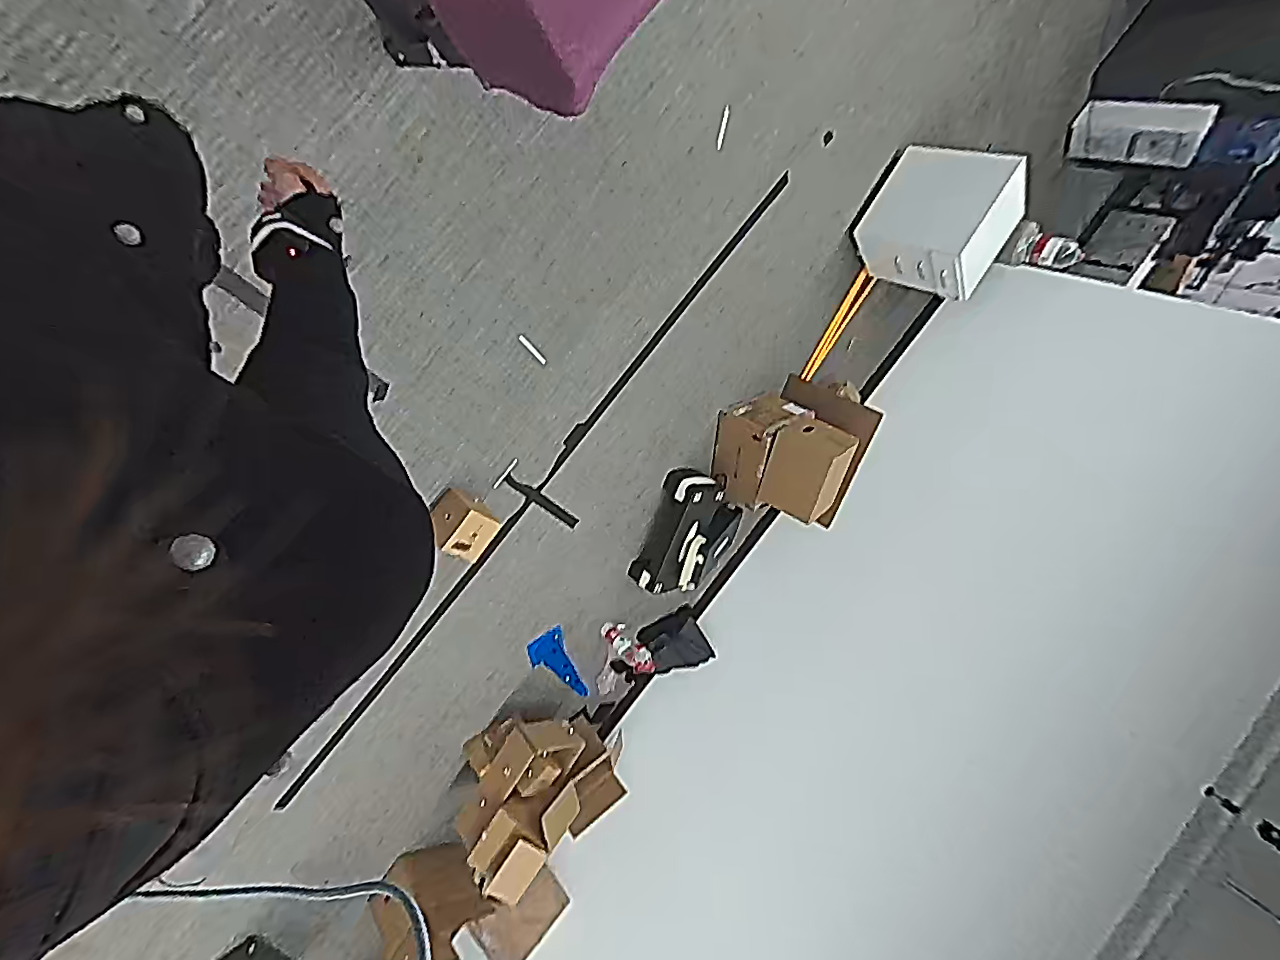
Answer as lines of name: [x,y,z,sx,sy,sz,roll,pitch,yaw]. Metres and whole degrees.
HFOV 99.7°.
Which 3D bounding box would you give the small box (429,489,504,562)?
small box: [-0.638,0.164,1.965,0.179,0.176,0.168,-53,143,-2]
